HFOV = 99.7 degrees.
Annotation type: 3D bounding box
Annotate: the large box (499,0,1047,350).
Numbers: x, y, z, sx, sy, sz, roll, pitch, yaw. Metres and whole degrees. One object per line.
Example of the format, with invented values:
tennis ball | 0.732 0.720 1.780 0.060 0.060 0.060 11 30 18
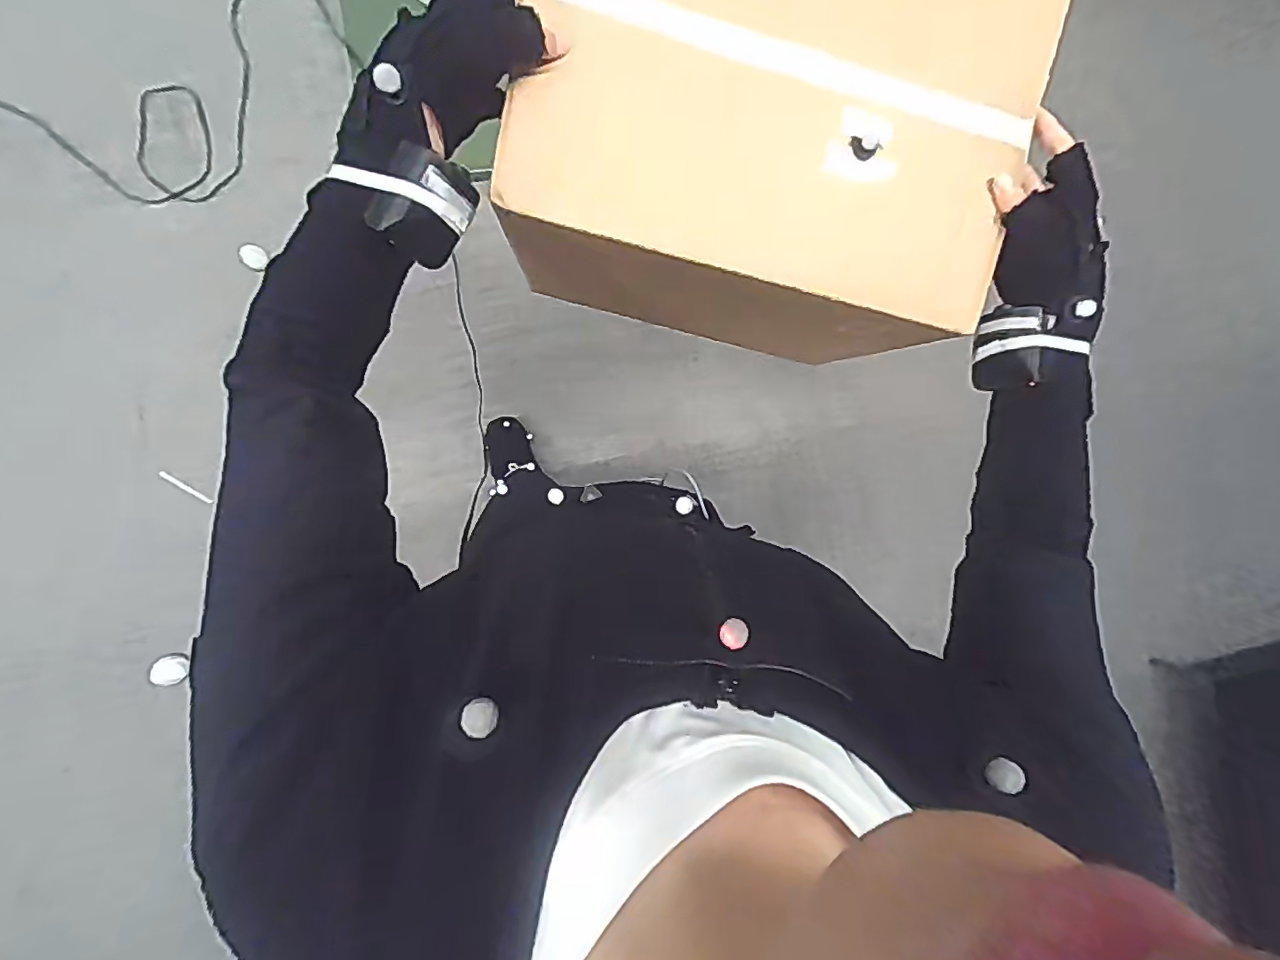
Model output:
large box | 0.094 -0.343 0.561 0.408 0.320 0.320 11 97 -8
